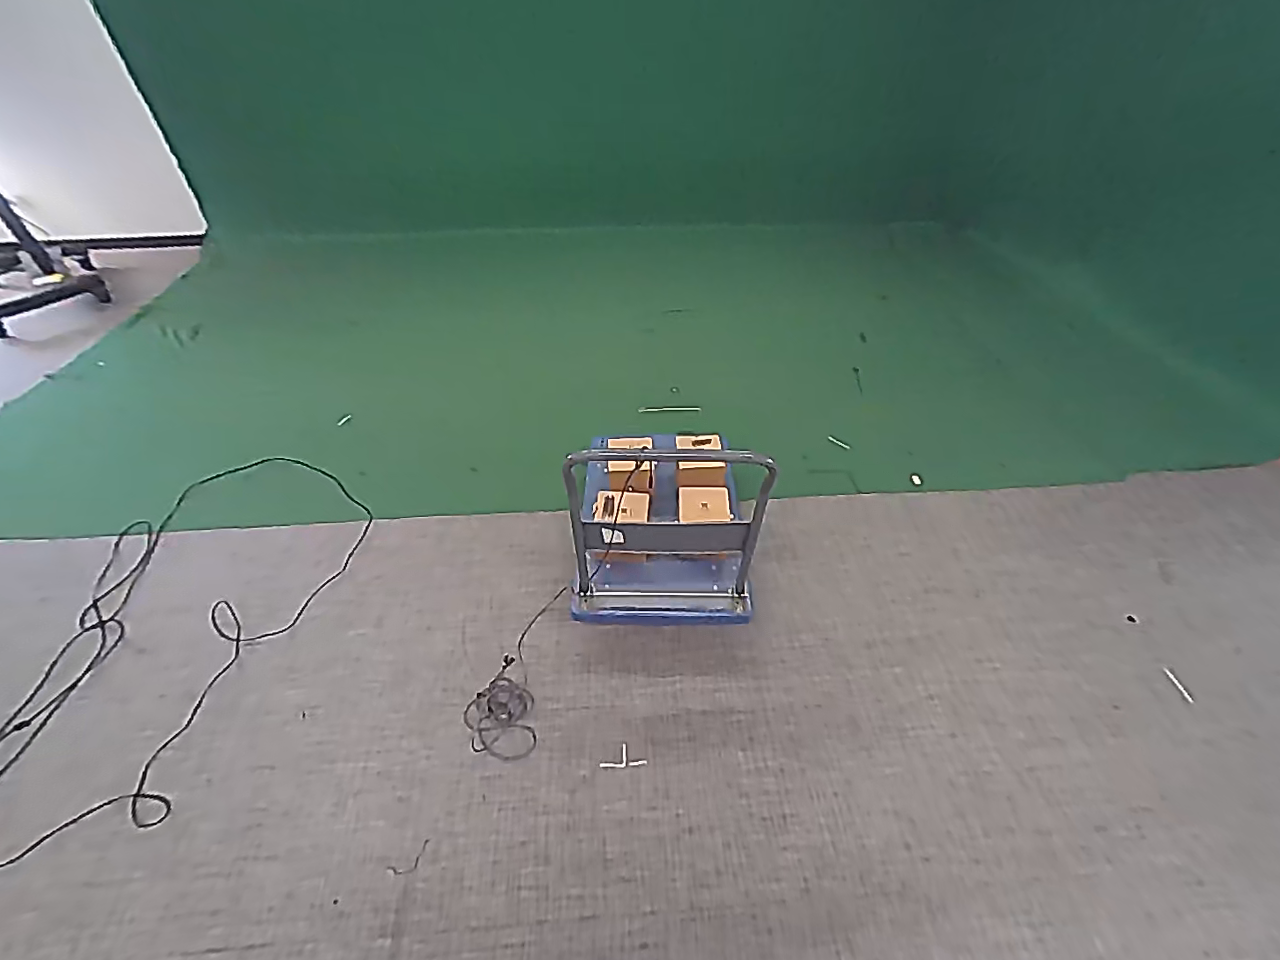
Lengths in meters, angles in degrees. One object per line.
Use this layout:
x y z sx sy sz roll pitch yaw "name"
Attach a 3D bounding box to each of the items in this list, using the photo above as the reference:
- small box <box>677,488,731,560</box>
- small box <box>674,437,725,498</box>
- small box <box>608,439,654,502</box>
0.213 0.149 1.834 0.168 0.176 0.179 1 45 2 "small box"
0.218 -0.042 2.025 0.168 0.176 0.179 -3 46 -1 "small box"
-0.033 -0.031 2.018 0.168 0.176 0.179 -2 45 -2 "small box"
